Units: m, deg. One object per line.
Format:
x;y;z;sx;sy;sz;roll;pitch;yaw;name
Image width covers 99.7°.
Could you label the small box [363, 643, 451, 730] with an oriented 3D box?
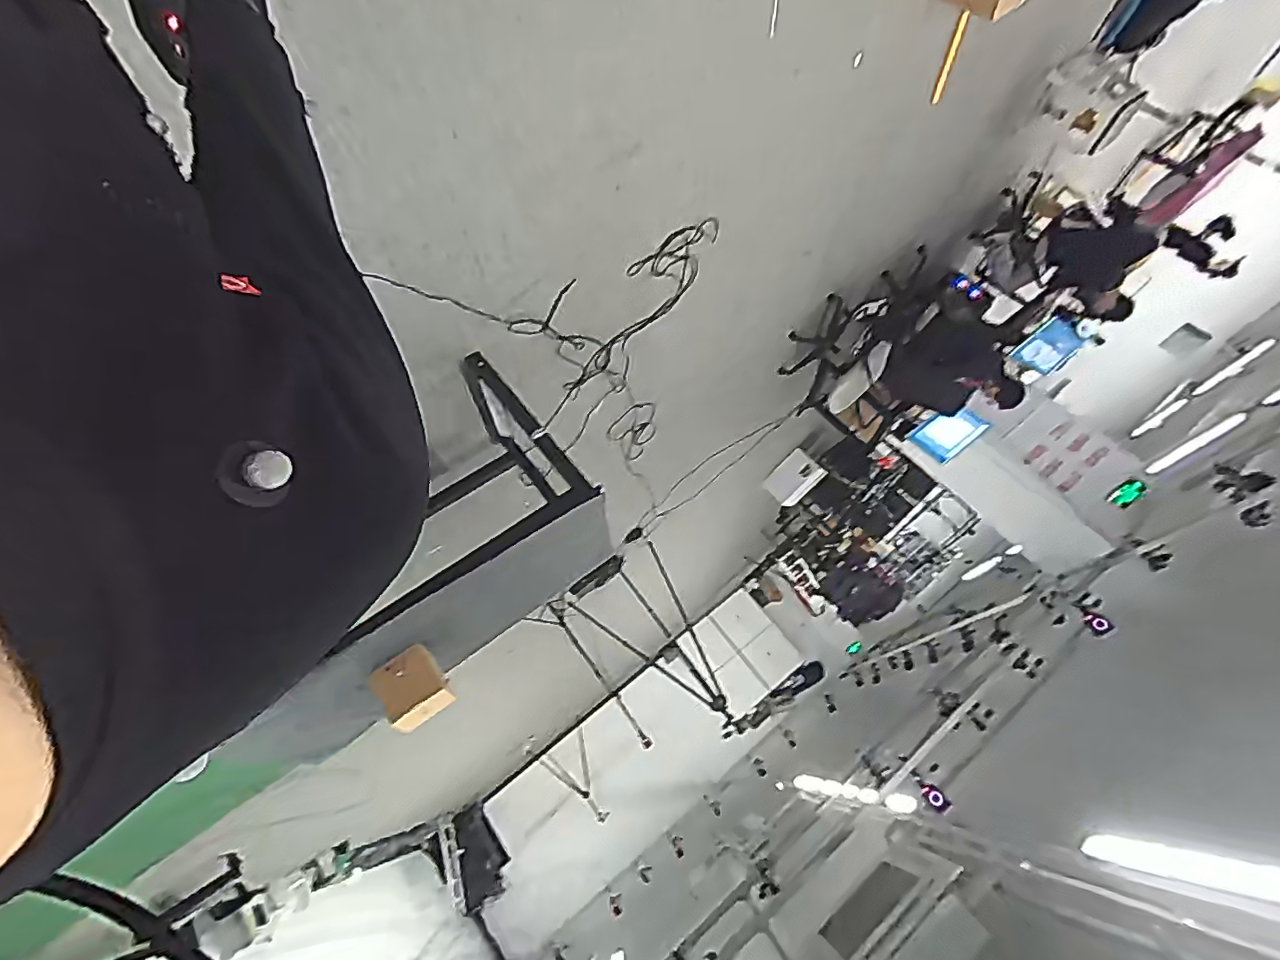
-0.700;0.620;1.630;0.168;0.176;0.179;-32;156;-23;small box
